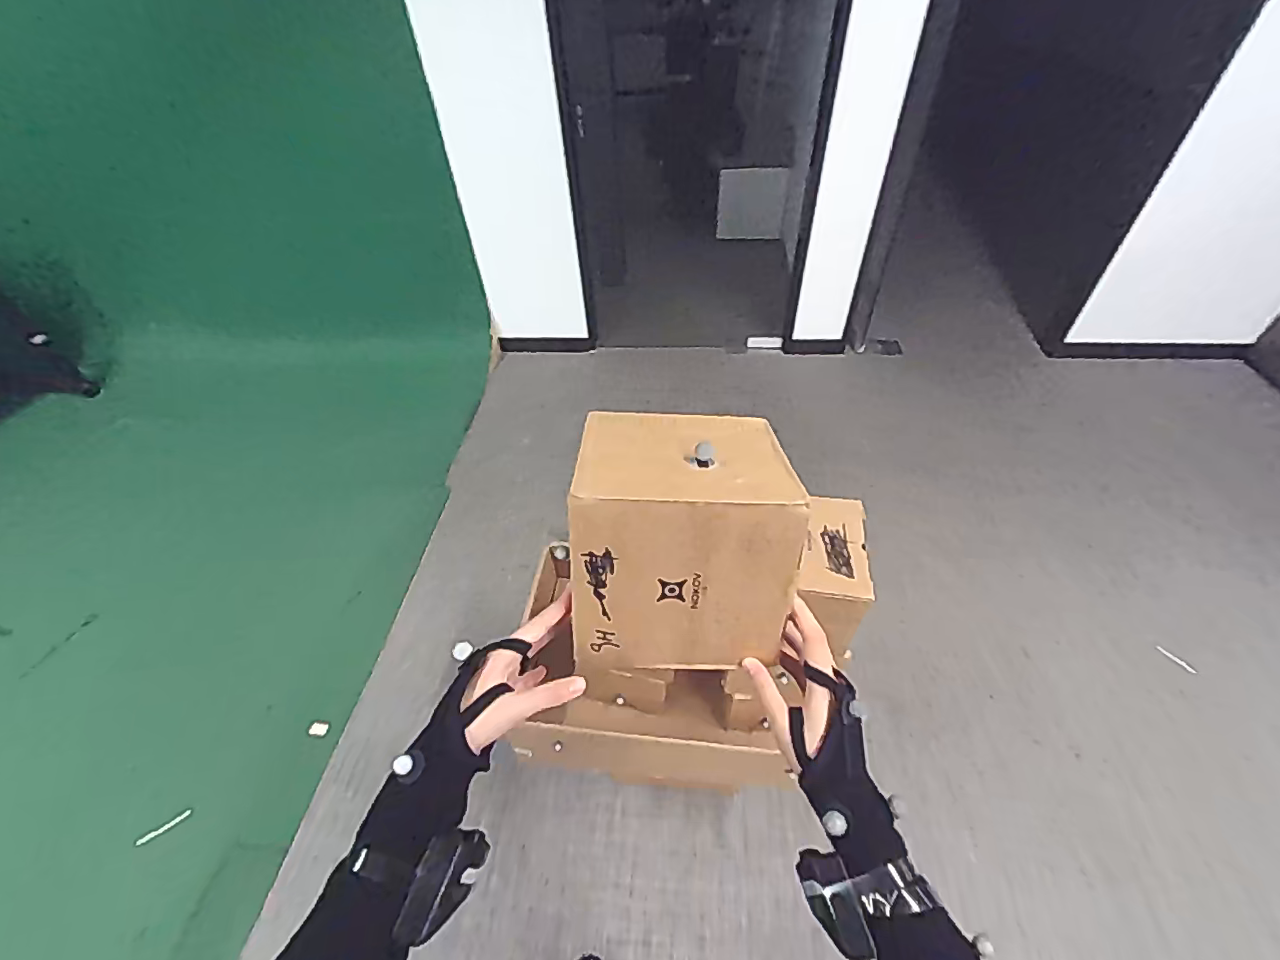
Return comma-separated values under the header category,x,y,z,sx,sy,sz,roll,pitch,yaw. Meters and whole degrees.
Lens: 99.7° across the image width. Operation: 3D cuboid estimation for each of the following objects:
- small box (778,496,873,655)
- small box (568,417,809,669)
category,x,y,z,sx,sy,sz,roll,pitch,yaw
small box,0.226,0.140,0.797,0.179,0.176,0.168,5,47,10
small box,0.029,0.048,0.489,0.179,0.168,0.176,1,27,-2
